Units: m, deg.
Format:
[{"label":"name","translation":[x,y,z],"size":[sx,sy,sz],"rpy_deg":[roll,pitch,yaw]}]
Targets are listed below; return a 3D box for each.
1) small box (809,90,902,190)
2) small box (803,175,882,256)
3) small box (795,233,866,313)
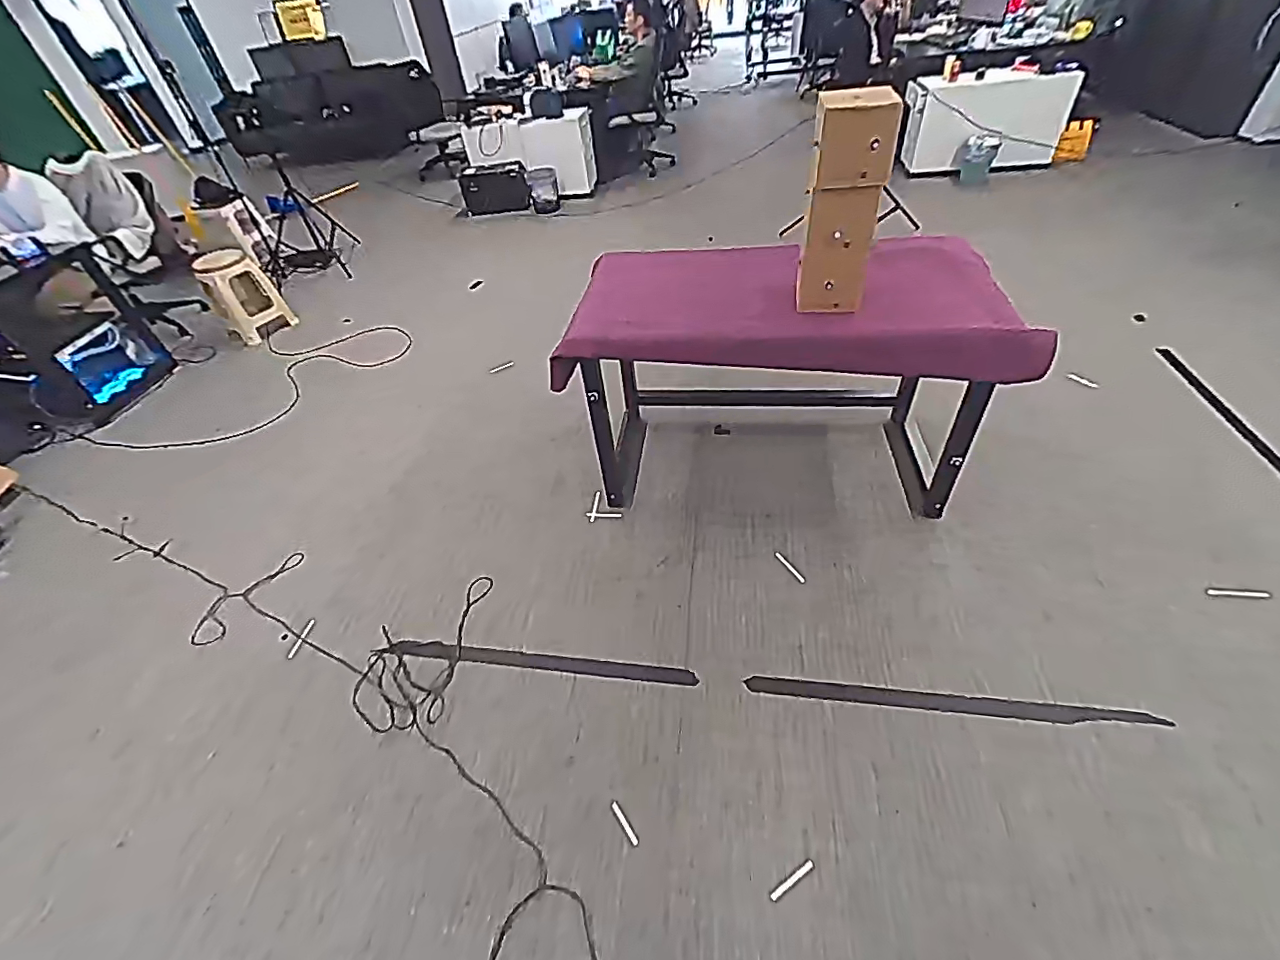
[{"label":"small box","translation":[0.504,-0.805,1.288],"size":[0.168,0.176,0.179],"rpy_deg":[2,44,9]},{"label":"small box","translation":[0.521,-0.704,1.416],"size":[0.168,0.176,0.179],"rpy_deg":[3,46,12]},{"label":"small box","translation":[0.533,-0.584,1.527],"size":[0.168,0.176,0.179],"rpy_deg":[4,45,11]}]
